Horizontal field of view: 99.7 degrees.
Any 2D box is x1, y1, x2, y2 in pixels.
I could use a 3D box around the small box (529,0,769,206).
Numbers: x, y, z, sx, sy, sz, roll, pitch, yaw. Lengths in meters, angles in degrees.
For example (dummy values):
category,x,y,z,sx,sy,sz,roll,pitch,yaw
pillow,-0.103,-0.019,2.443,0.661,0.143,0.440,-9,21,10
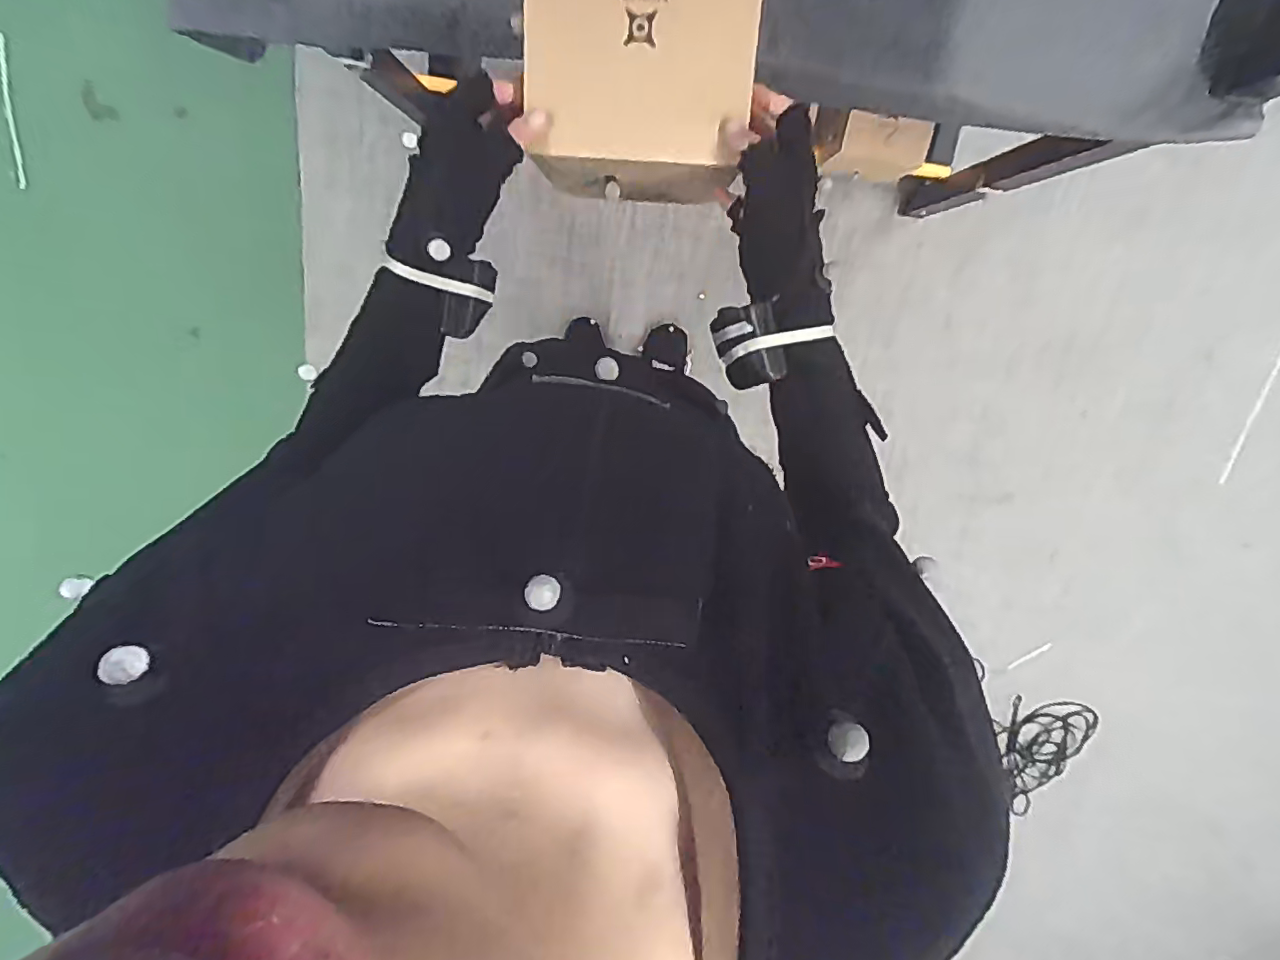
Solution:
category,x,y,z,sx,sy,sz,roll,pitch,yaw
small box,0.008,-0.338,0.445,0.168,0.176,0.179,4,106,0
